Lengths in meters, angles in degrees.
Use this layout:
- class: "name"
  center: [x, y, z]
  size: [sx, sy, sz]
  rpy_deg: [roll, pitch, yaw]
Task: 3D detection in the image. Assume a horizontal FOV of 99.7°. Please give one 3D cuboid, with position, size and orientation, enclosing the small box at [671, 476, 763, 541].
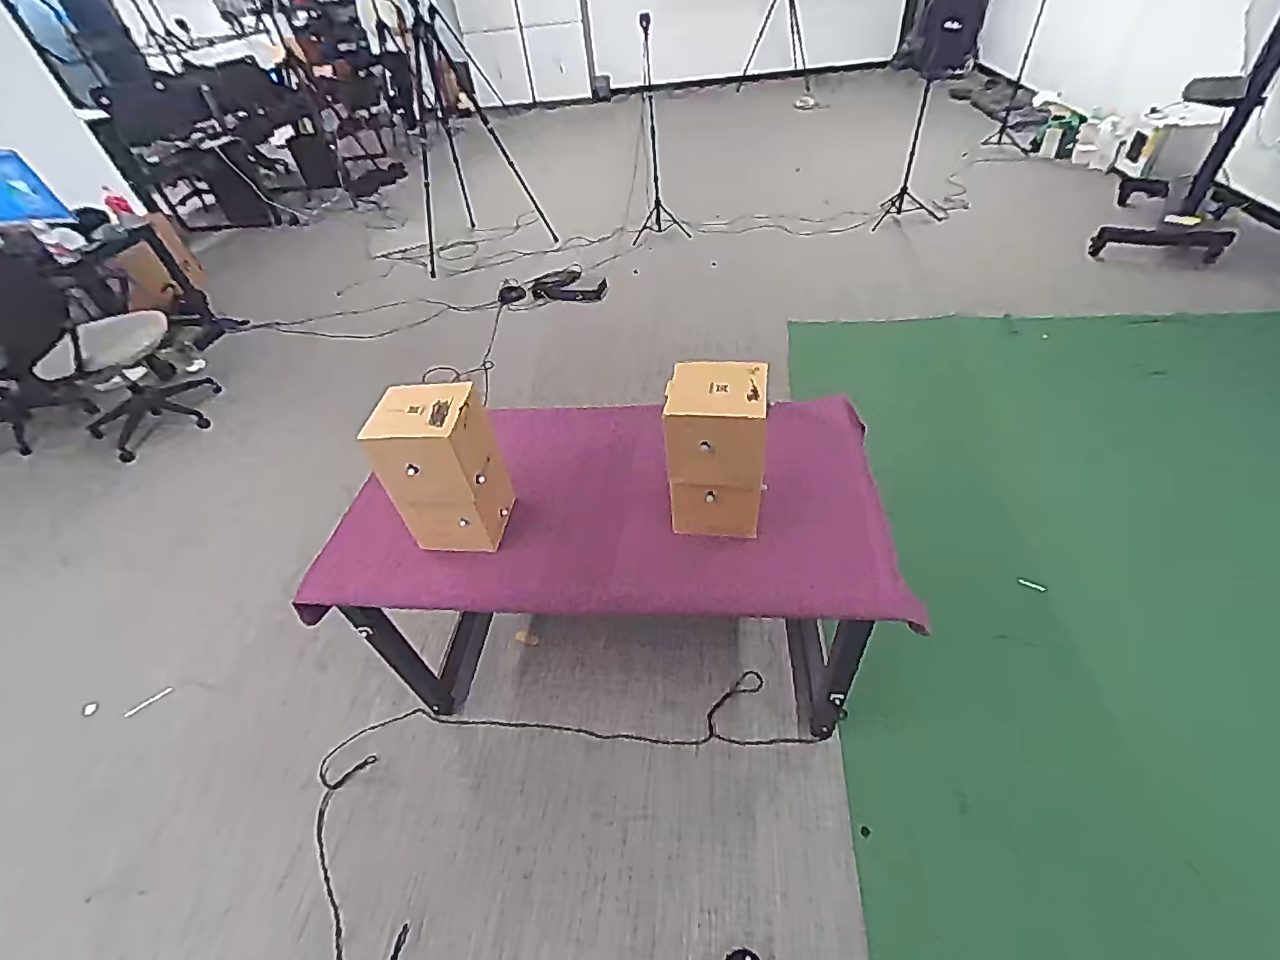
- class: "small box"
  center: [0.166, 0.012, 1.138]
  size: [0.179, 0.176, 0.168]
  rpy_deg: [3, 46, 11]

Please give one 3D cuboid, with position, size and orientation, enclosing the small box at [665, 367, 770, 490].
- class: "small box"
  center: [0.150, -0.096, 1.015]
  size: [0.179, 0.176, 0.168]
  rpy_deg: [3, 46, 12]

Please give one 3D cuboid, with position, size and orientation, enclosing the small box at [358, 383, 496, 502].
- class: "small box"
  center: [-0.397, -0.070, 1.048]
  size: [0.179, 0.176, 0.168]
  rpy_deg: [-1, 45, 6]
